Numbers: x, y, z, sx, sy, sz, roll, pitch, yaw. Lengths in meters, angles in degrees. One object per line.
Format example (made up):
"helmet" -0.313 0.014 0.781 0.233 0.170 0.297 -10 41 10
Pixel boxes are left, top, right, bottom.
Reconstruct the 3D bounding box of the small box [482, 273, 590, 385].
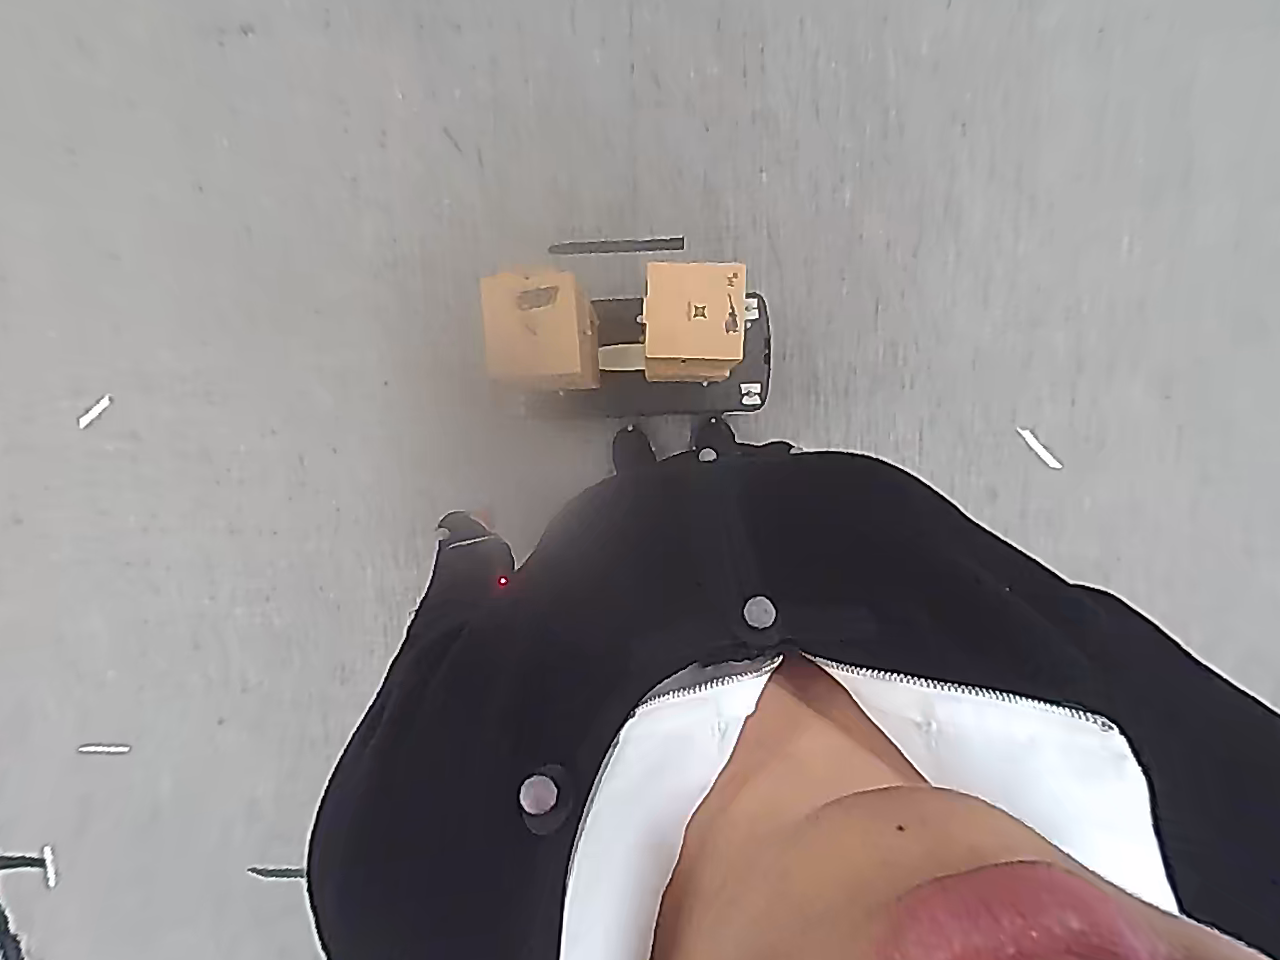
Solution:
"small box" -0.189 -0.278 1.027 0.168 0.176 0.179 -4 97 2

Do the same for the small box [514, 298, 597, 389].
"small box" -0.183 -0.291 1.190 0.168 0.176 0.179 -2 96 2

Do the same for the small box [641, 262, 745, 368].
"small box" 0.096 -0.303 1.020 0.179 0.176 0.168 2 96 2

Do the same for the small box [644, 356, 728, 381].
"small box" 0.098 -0.303 1.185 0.179 0.176 0.168 0 96 4
